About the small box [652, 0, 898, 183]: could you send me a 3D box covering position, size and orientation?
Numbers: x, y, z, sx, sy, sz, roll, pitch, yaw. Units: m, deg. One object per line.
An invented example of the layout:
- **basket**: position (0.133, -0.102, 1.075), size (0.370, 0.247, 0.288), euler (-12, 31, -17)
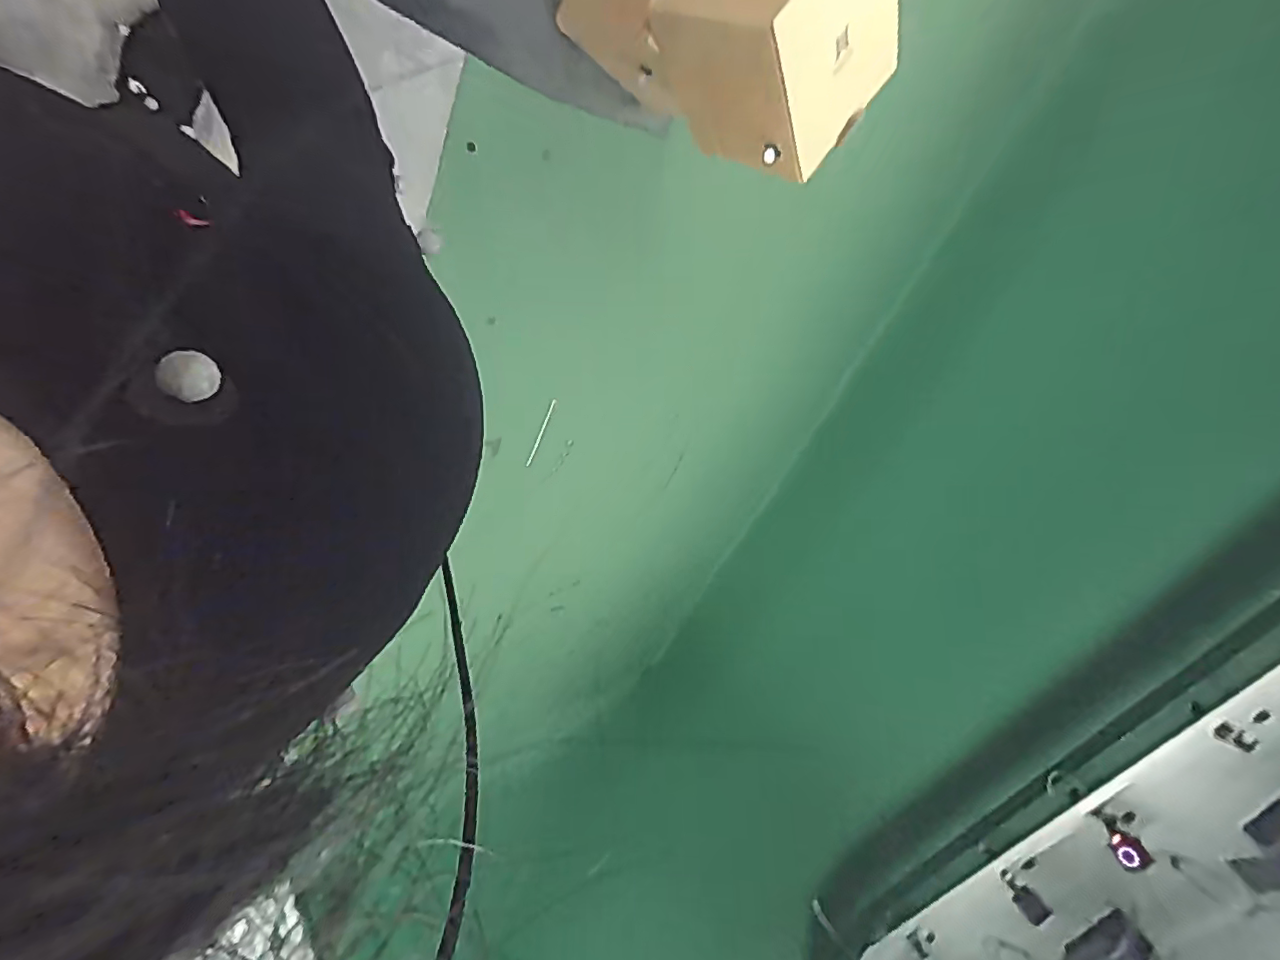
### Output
- **small box**: position (0.141, -0.457, 0.562), size (0.168, 0.176, 0.179), euler (-51, 149, 2)

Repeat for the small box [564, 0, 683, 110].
- **small box**: position (0.041, -0.562, 0.638), size (0.179, 0.176, 0.168), euler (2, 123, -51)
